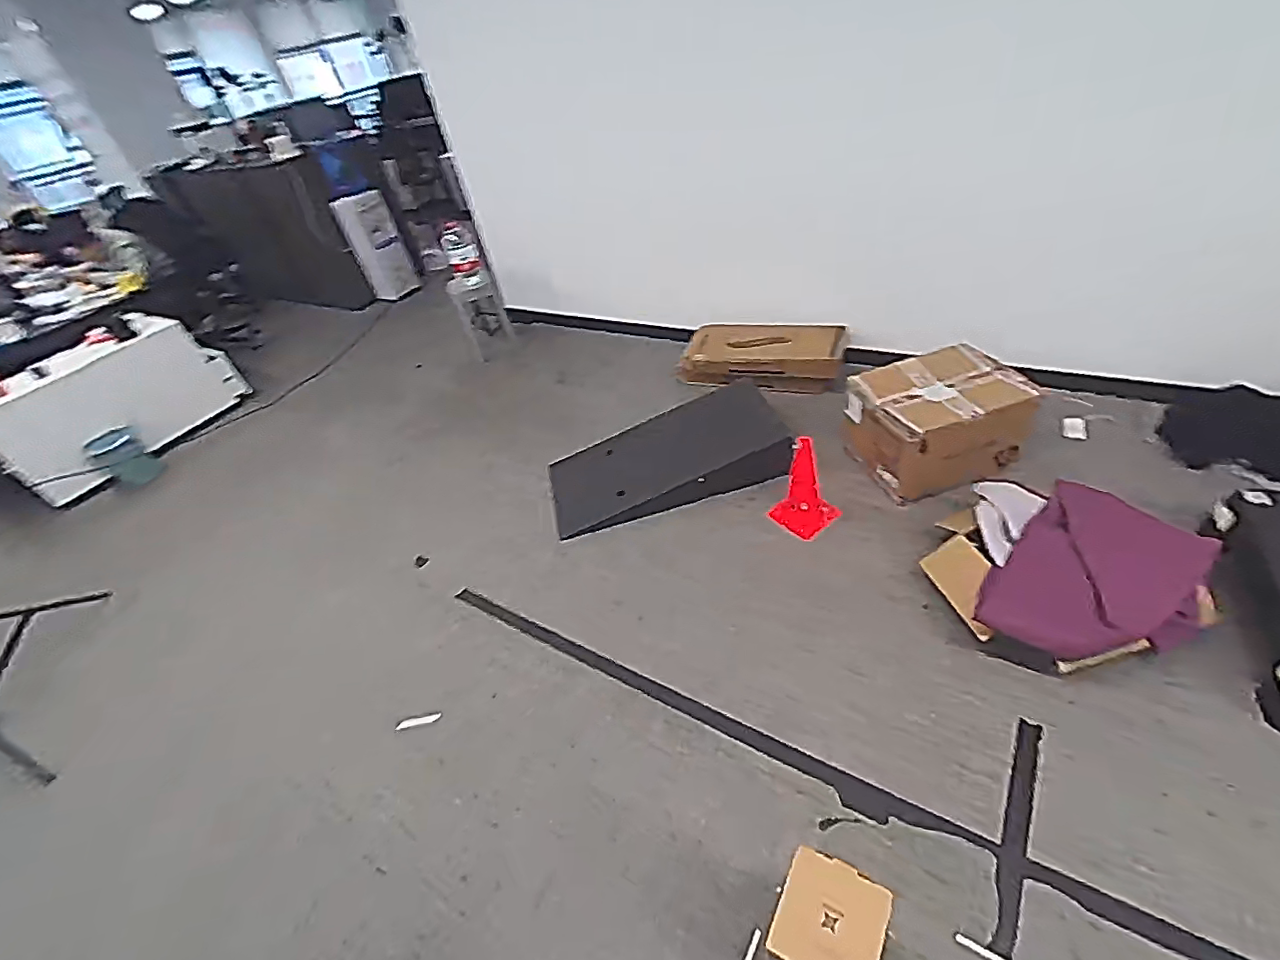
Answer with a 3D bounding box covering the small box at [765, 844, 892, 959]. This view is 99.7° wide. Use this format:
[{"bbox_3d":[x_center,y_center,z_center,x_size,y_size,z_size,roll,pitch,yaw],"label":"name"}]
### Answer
[{"bbox_3d":[0.333,0.804,0.964,0.168,0.176,0.179,14,49,30],"label":"small box"}]
